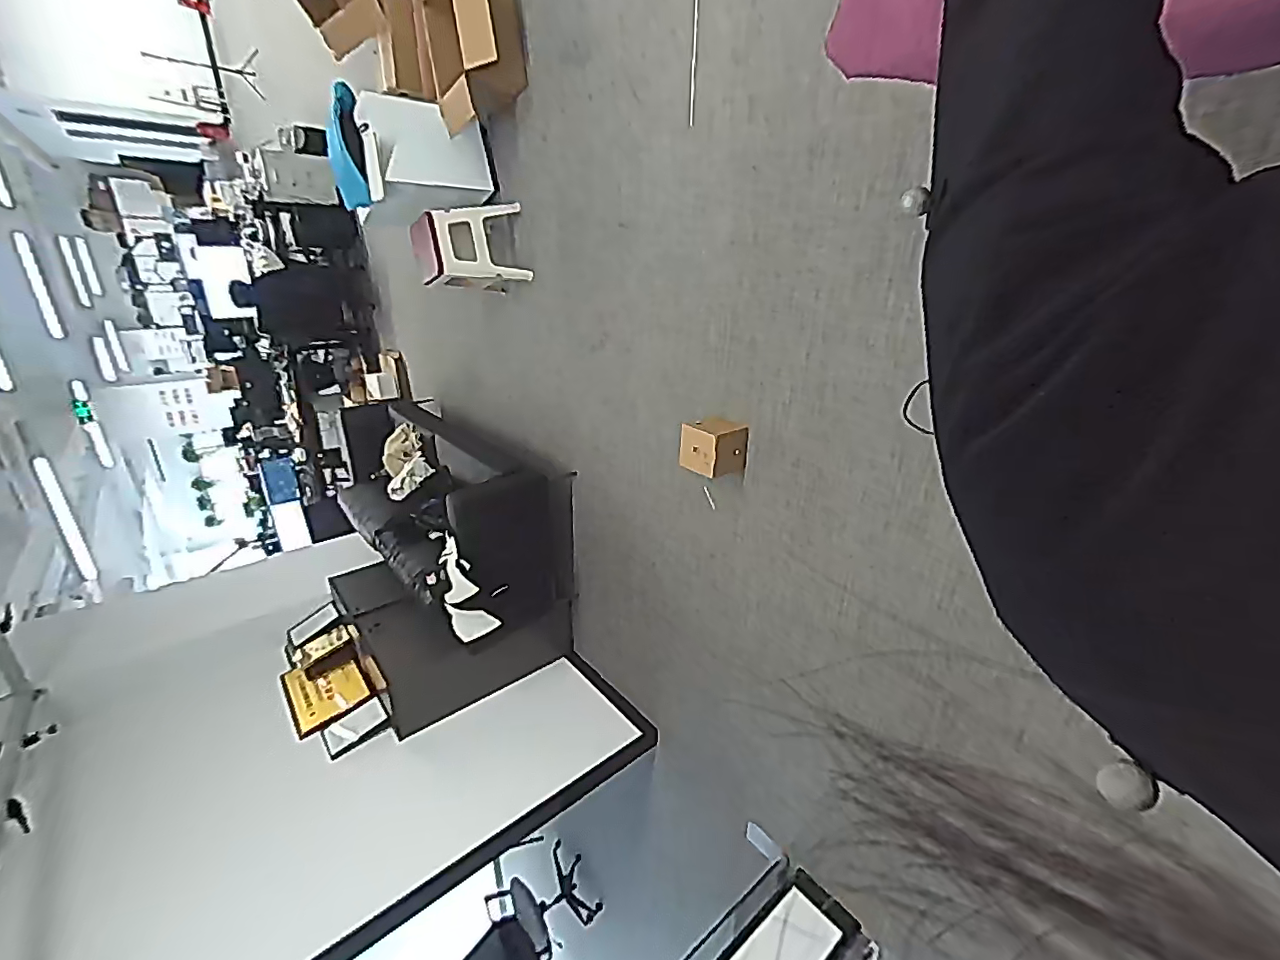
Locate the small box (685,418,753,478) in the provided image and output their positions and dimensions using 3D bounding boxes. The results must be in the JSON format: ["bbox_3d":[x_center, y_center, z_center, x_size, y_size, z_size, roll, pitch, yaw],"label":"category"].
[{"bbox_3d":[0.289,-0.124,1.988,0.179,0.176,0.168,26,124,44],"label":"small box"}]
